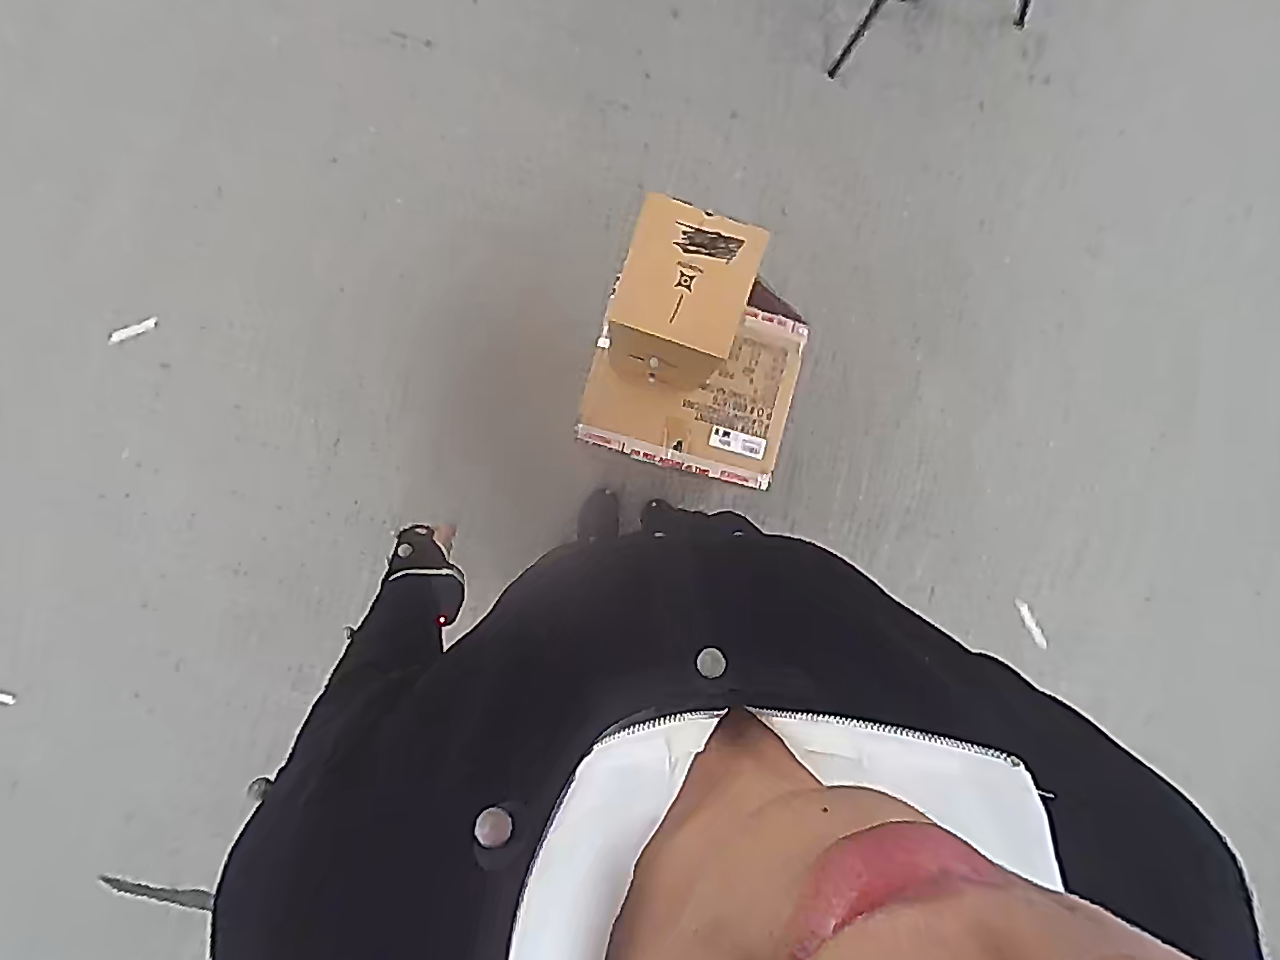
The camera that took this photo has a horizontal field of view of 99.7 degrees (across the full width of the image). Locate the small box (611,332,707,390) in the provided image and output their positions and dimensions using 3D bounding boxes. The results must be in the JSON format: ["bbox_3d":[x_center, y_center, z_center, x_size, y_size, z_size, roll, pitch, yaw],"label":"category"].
[{"bbox_3d":[0.050,-0.268,0.935,0.168,0.176,0.179,15,91,-1],"label":"small box"}]

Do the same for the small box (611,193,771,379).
[{"bbox_3d":[0.062,-0.261,0.771,0.168,0.176,0.179,19,91,-2],"label":"small box"}]
